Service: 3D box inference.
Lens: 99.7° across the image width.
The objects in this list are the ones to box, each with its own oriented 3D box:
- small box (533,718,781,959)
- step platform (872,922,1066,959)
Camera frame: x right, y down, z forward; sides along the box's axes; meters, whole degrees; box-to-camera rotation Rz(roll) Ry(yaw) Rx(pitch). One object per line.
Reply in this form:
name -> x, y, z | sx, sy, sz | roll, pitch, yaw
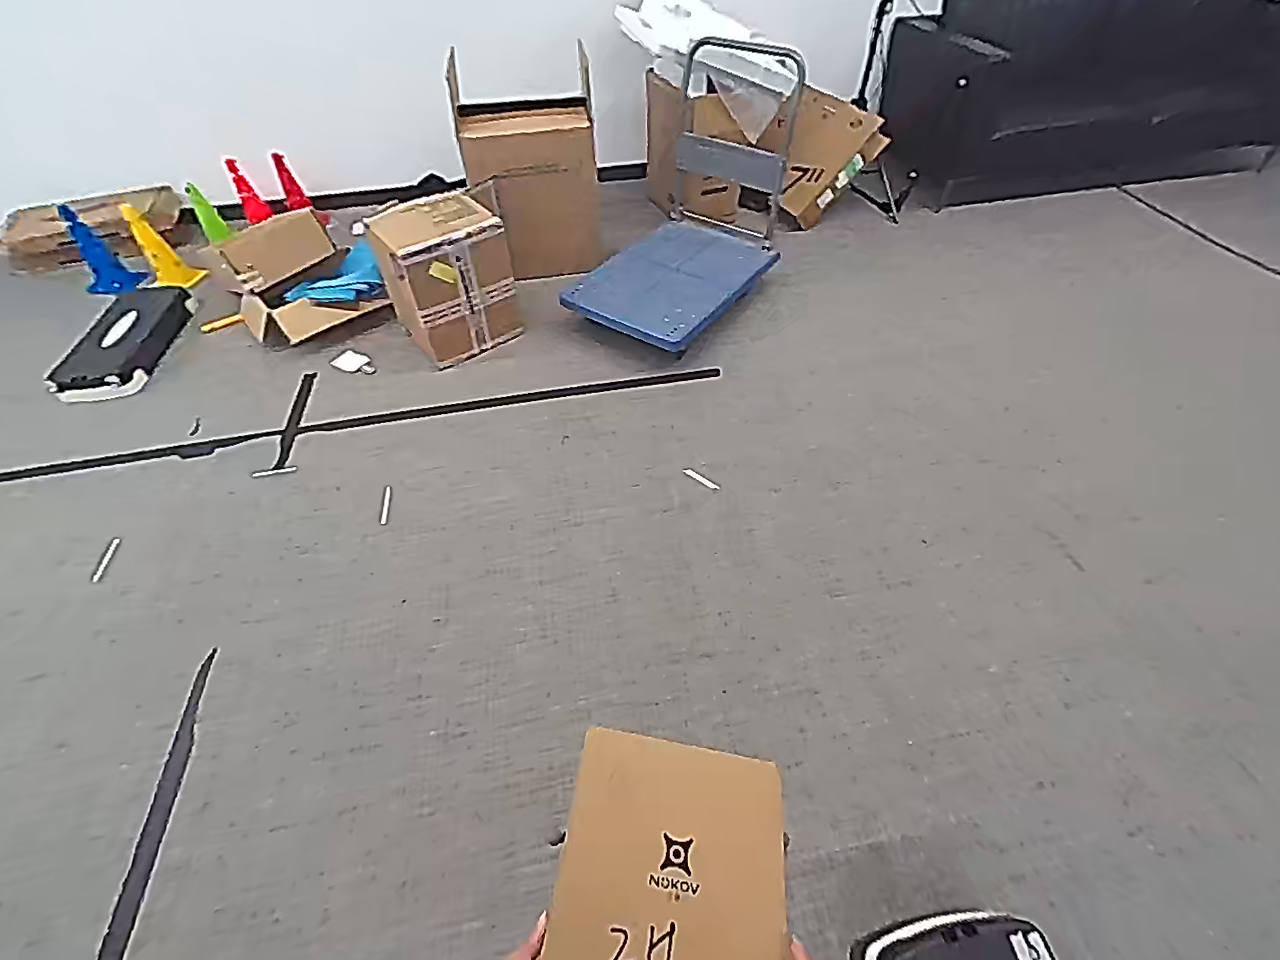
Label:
small box -> 0.011, 0.333, 0.452 | 0.168, 0.176, 0.179 | 11, 45, 1
step platform -> 0.610, 1.053, 0.743 | 0.286, 0.204, 0.684 | -9, 49, -7
